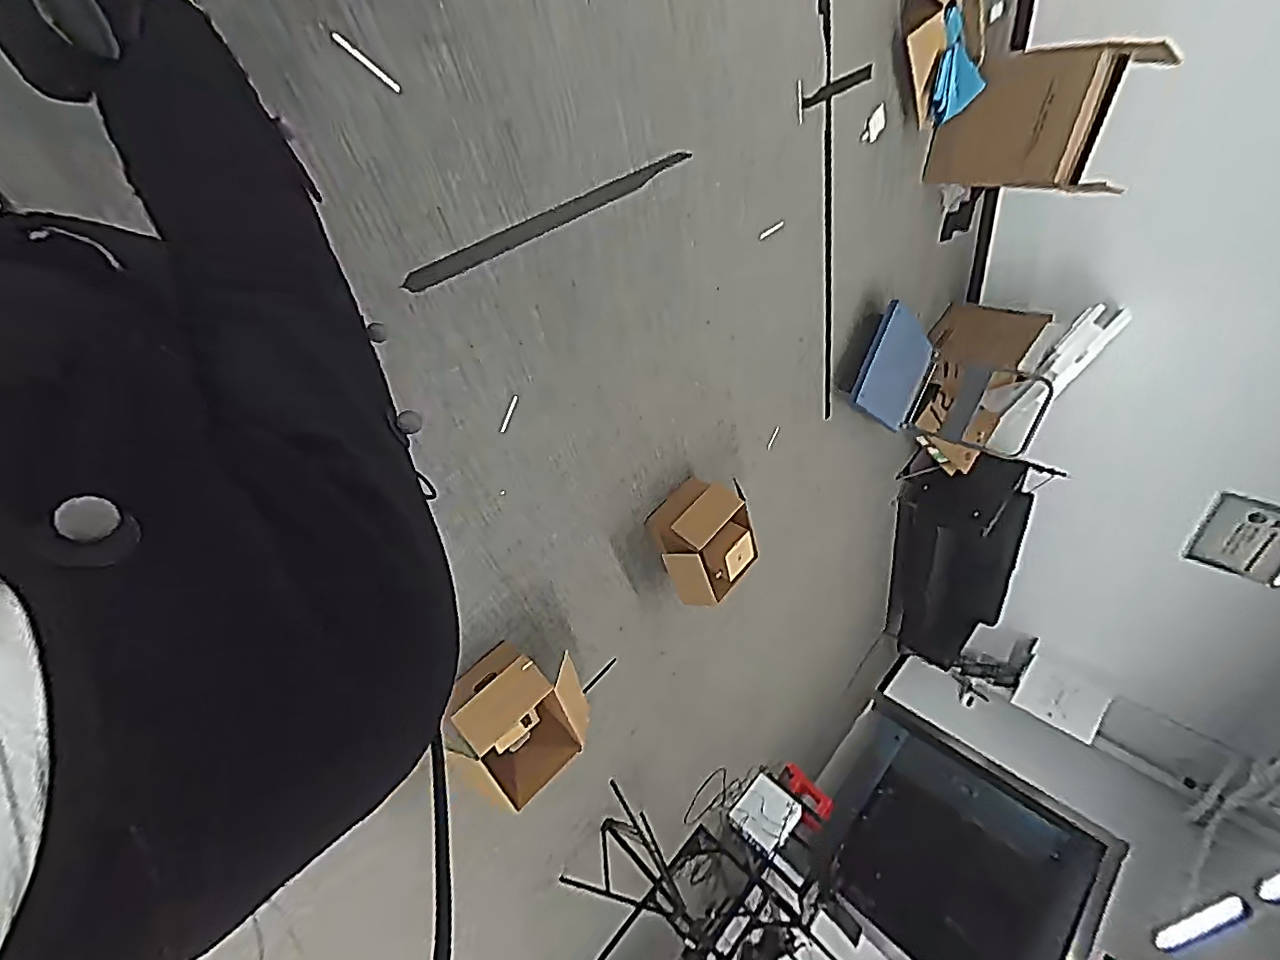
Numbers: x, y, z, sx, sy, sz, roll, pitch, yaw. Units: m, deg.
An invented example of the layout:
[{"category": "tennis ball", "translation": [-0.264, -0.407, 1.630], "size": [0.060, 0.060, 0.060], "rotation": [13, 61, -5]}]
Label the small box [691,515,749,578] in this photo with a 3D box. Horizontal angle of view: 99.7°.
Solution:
[{"category": "small box", "translation": [0.342, 0.280, 2.313], "size": [0.168, 0.176, 0.179], "rotation": [-42, 135, -25]}]
